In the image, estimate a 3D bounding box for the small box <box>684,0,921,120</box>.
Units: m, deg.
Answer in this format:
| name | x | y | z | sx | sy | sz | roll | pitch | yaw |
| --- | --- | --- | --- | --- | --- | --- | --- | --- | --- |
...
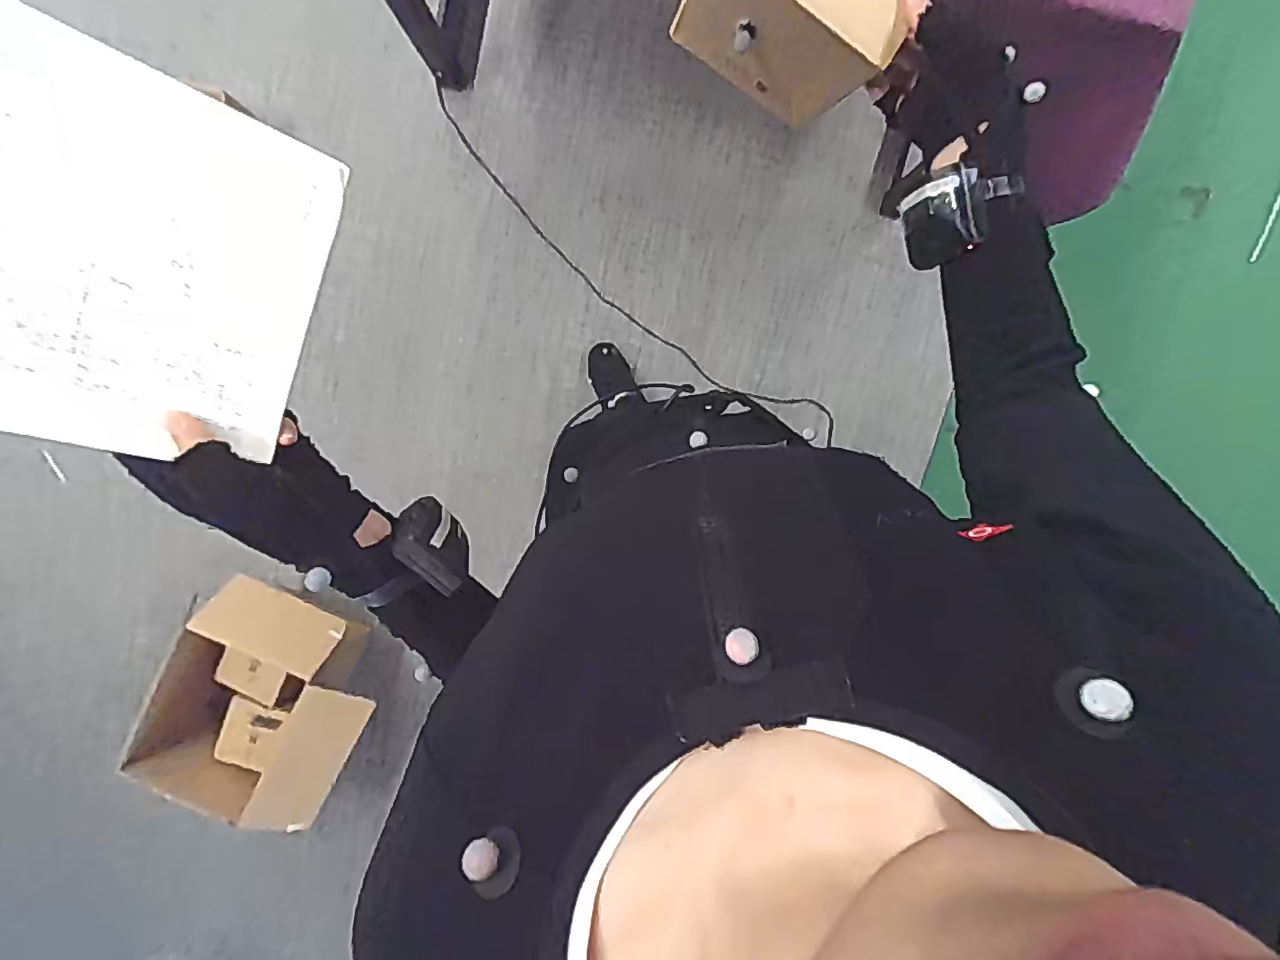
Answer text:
| name | x | y | z | sx | sy | sz | roll | pitch | yaw |
| --- | --- | --- | --- | --- | --- | --- | --- | --- | --- |
| small box | 0.152 | -0.458 | 0.464 | 0.168 | 0.176 | 0.179 | 26 | 102 | -16 |
